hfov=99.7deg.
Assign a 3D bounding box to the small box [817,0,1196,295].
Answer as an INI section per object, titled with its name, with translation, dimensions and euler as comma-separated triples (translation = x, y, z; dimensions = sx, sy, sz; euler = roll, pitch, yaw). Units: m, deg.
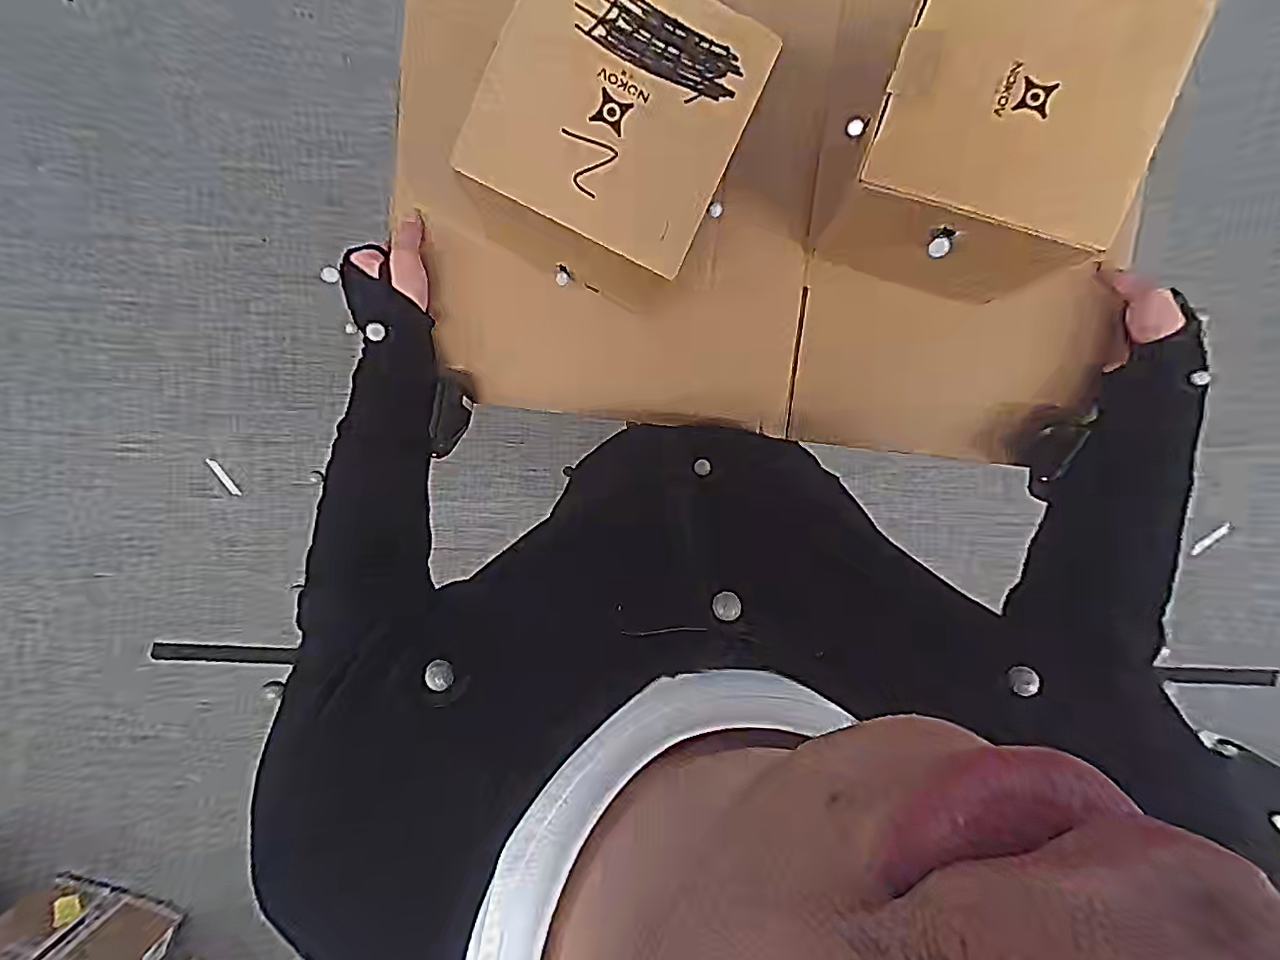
[small box]
translation = 0.272, -0.271, 0.453
dimensions = 0.179, 0.176, 0.168
euler = 20, 97, 6
